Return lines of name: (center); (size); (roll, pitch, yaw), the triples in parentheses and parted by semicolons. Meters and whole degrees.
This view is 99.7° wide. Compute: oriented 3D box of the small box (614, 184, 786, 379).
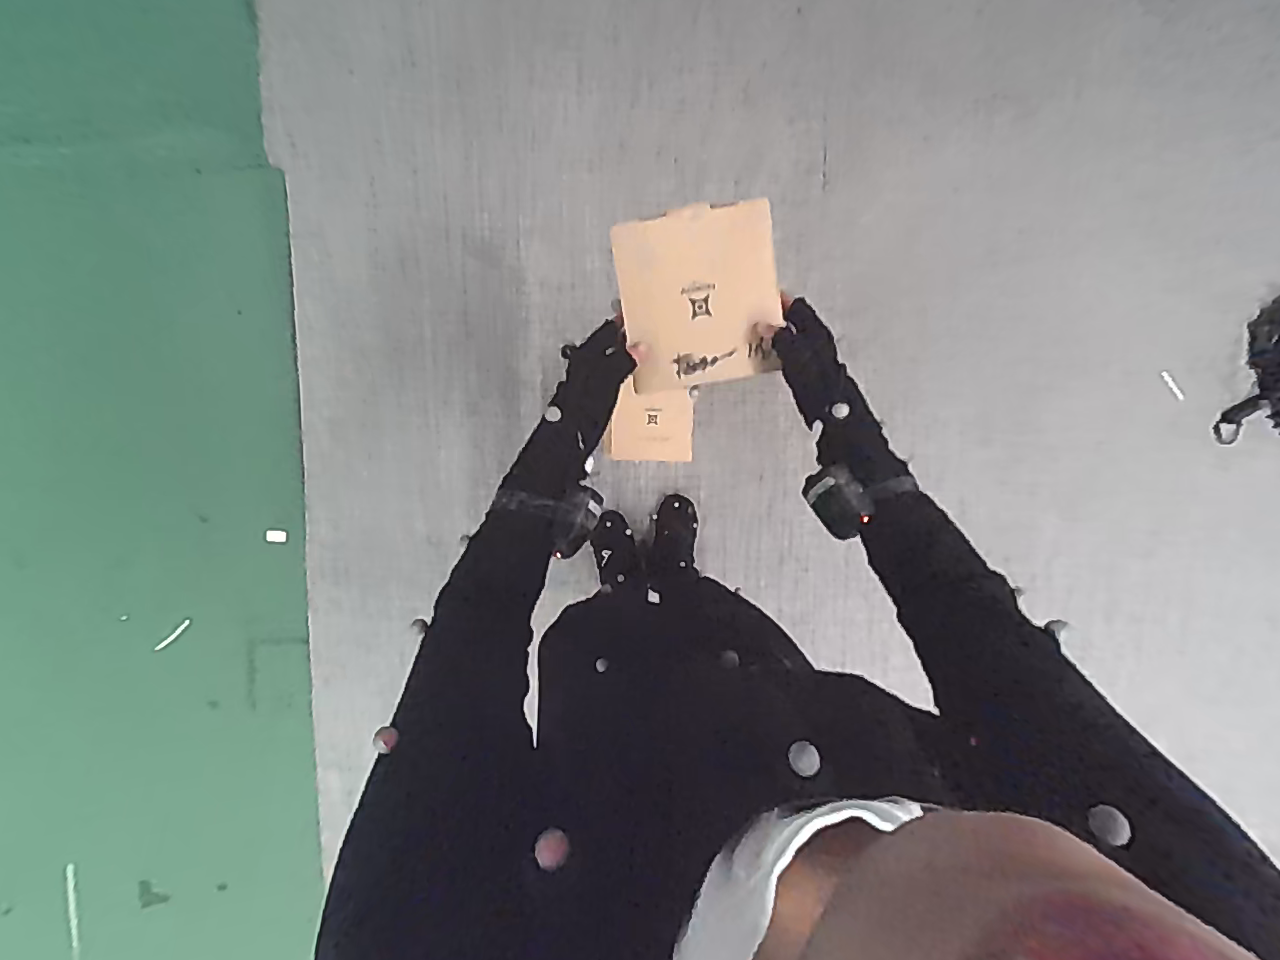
small box: (0.063, -0.216, 0.634); (0.168, 0.176, 0.179); (-8, 101, 2)

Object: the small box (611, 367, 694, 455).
small box: (0.022, -0.145, 1.168); (0.168, 0.176, 0.179); (1, 96, -1)

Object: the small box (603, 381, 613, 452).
small box: (0.001, -0.150, 1.328); (0.179, 0.176, 0.168); (2, 95, -2)
